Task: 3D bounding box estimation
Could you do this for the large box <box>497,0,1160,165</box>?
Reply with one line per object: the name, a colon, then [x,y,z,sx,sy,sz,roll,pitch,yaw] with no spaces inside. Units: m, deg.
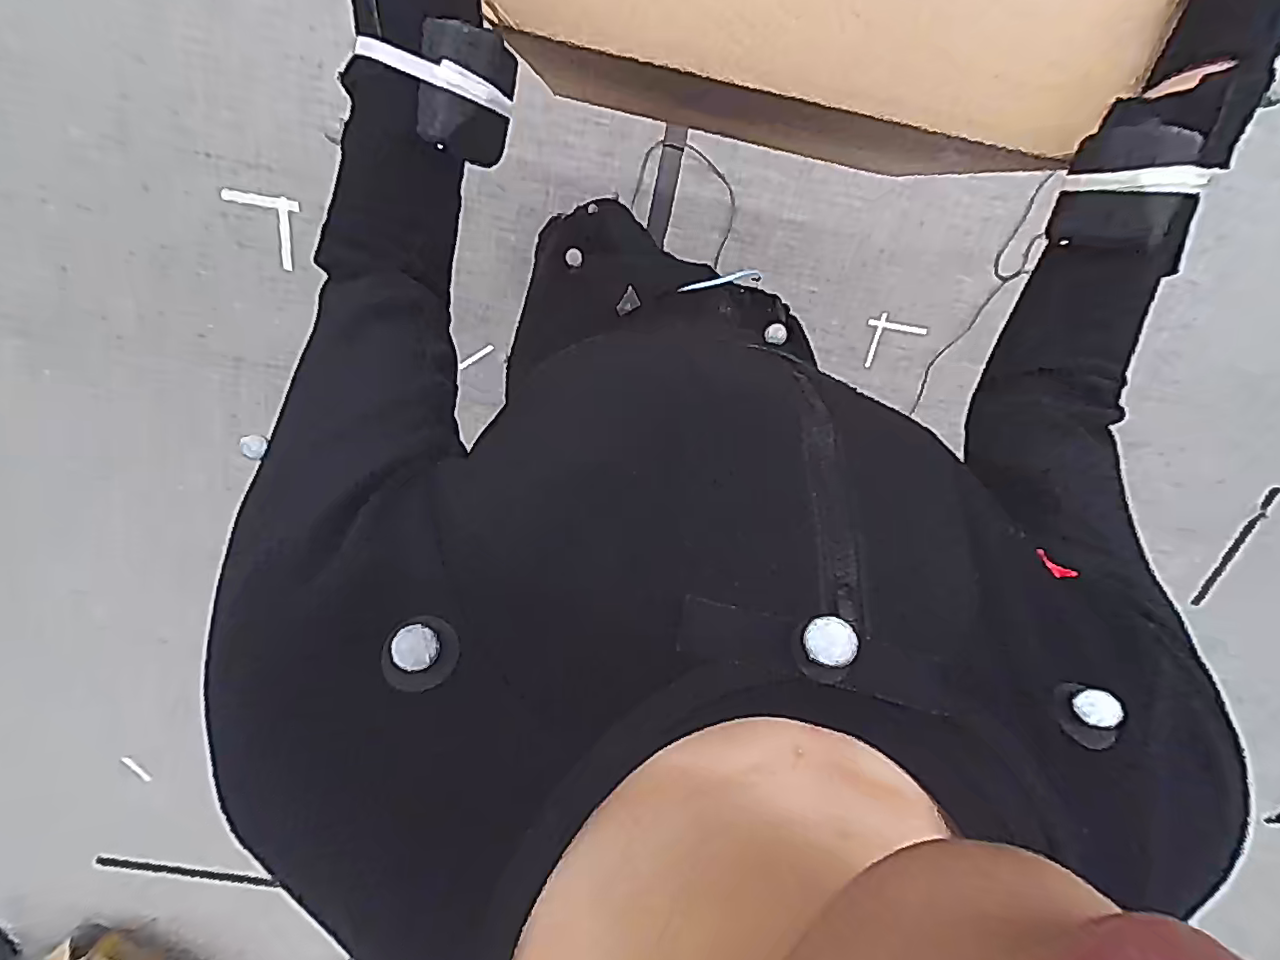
large box: [0.128,-0.451,0.405,0.408,0.320,0.320,9,120,-7]
